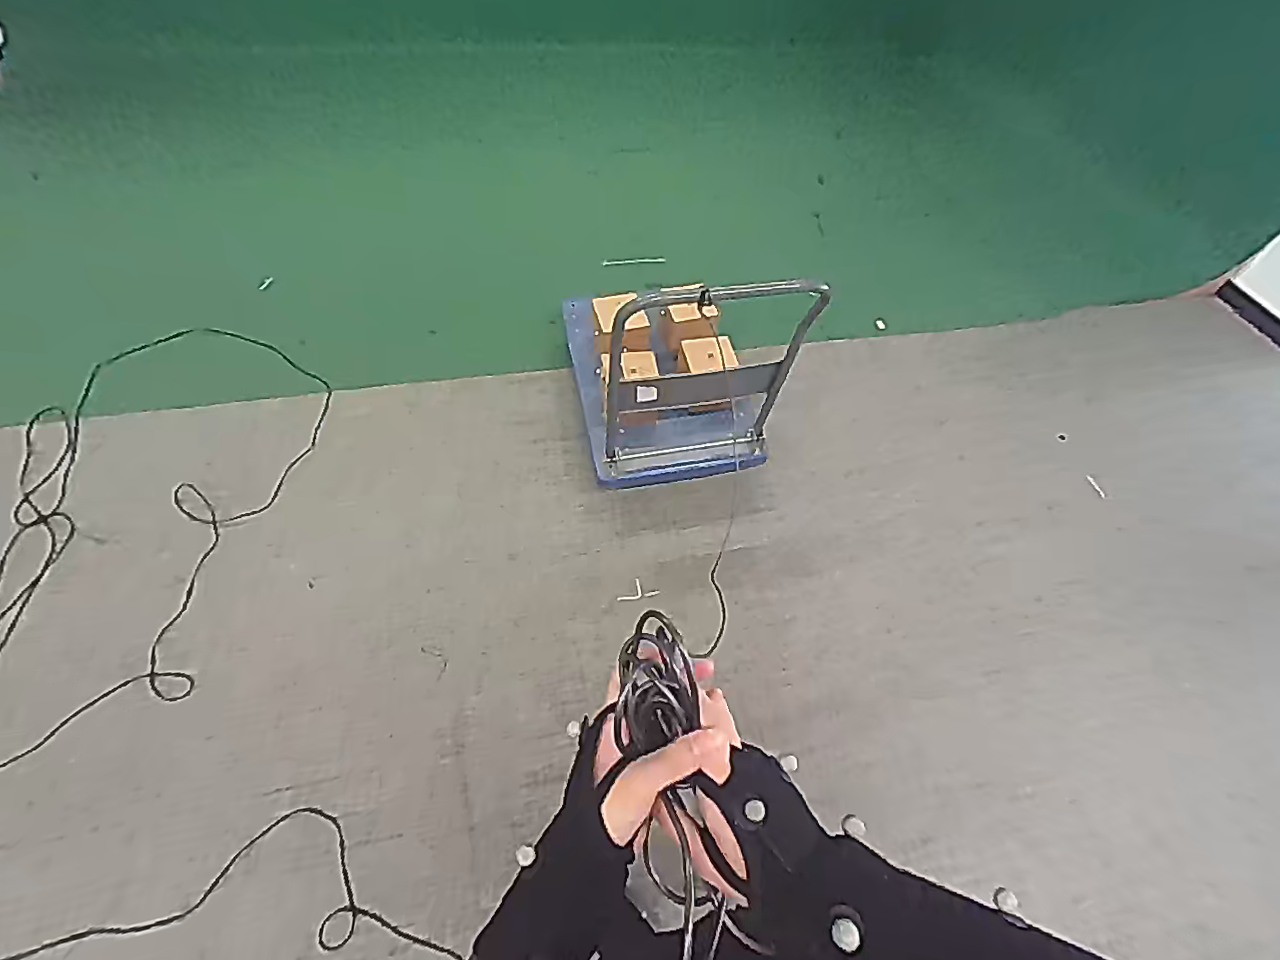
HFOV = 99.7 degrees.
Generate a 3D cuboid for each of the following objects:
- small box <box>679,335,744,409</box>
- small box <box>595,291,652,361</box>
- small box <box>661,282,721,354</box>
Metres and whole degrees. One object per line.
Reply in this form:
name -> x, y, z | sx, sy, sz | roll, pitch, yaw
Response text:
small box -> 0.233, -0.363, 1.829 | 0.168, 0.176, 0.179 | -7, 59, -9
small box -> -0.063, -0.538, 1.919 | 0.168, 0.176, 0.179 | -11, 59, -12
small box -> 0.179, -0.588, 1.968 | 0.168, 0.176, 0.179 | -12, 60, -10
